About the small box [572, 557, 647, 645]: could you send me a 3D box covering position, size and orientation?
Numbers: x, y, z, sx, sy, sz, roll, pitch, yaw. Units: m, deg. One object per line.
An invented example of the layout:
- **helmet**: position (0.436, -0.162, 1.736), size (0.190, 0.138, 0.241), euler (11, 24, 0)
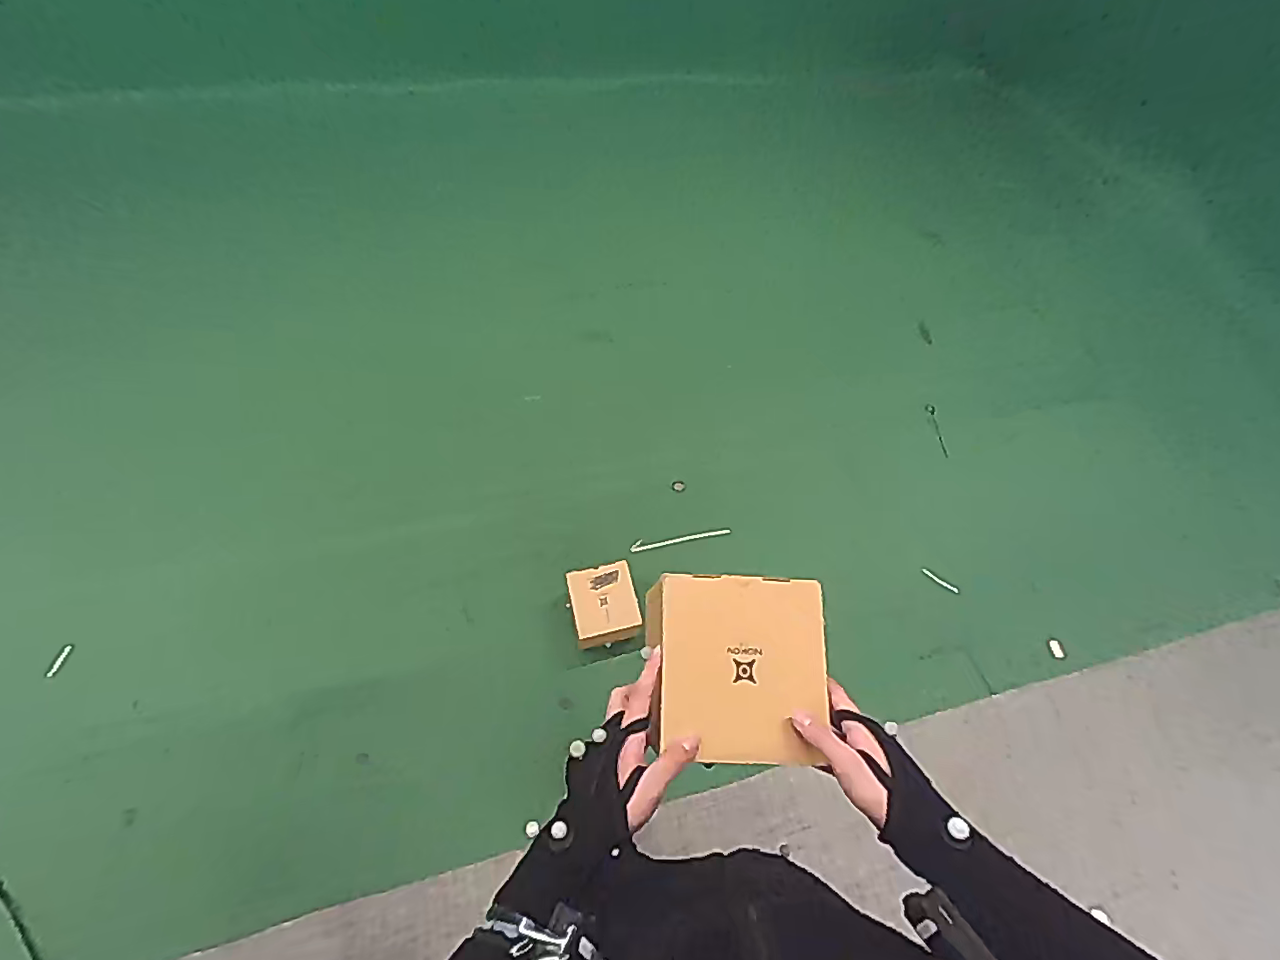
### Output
- **small box**: position (-0.089, 0.329, 1.456), size (0.168, 0.176, 0.179), euler (-12, 67, -11)
